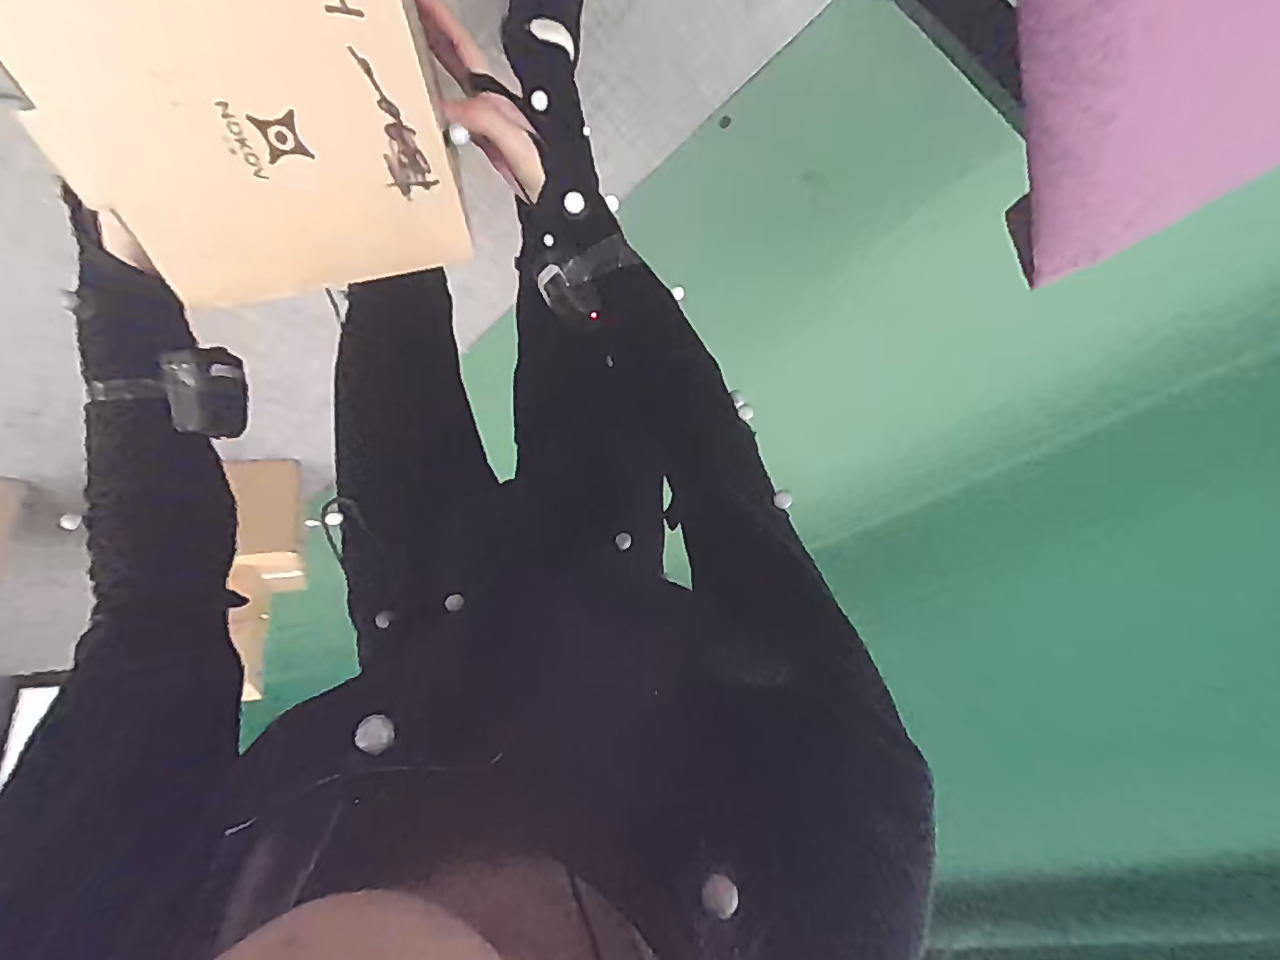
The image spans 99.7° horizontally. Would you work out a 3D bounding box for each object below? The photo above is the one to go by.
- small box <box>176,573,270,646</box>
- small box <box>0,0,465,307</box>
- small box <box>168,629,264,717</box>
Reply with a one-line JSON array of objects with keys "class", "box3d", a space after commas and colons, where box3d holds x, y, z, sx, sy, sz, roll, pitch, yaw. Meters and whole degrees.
[{"class": "small box", "box3d": [-1.149, 0.372, 1.506, 0.168, 0.176, 0.179, -5, 151, -22]}, {"class": "small box", "box3d": [-0.216, -0.232, 0.327, 0.179, 0.176, 0.168, -13, 141, -8]}, {"class": "small box", "box3d": [-1.103, 0.506, 1.423, 0.168, 0.176, 0.179, -3, 149, -27]}]
